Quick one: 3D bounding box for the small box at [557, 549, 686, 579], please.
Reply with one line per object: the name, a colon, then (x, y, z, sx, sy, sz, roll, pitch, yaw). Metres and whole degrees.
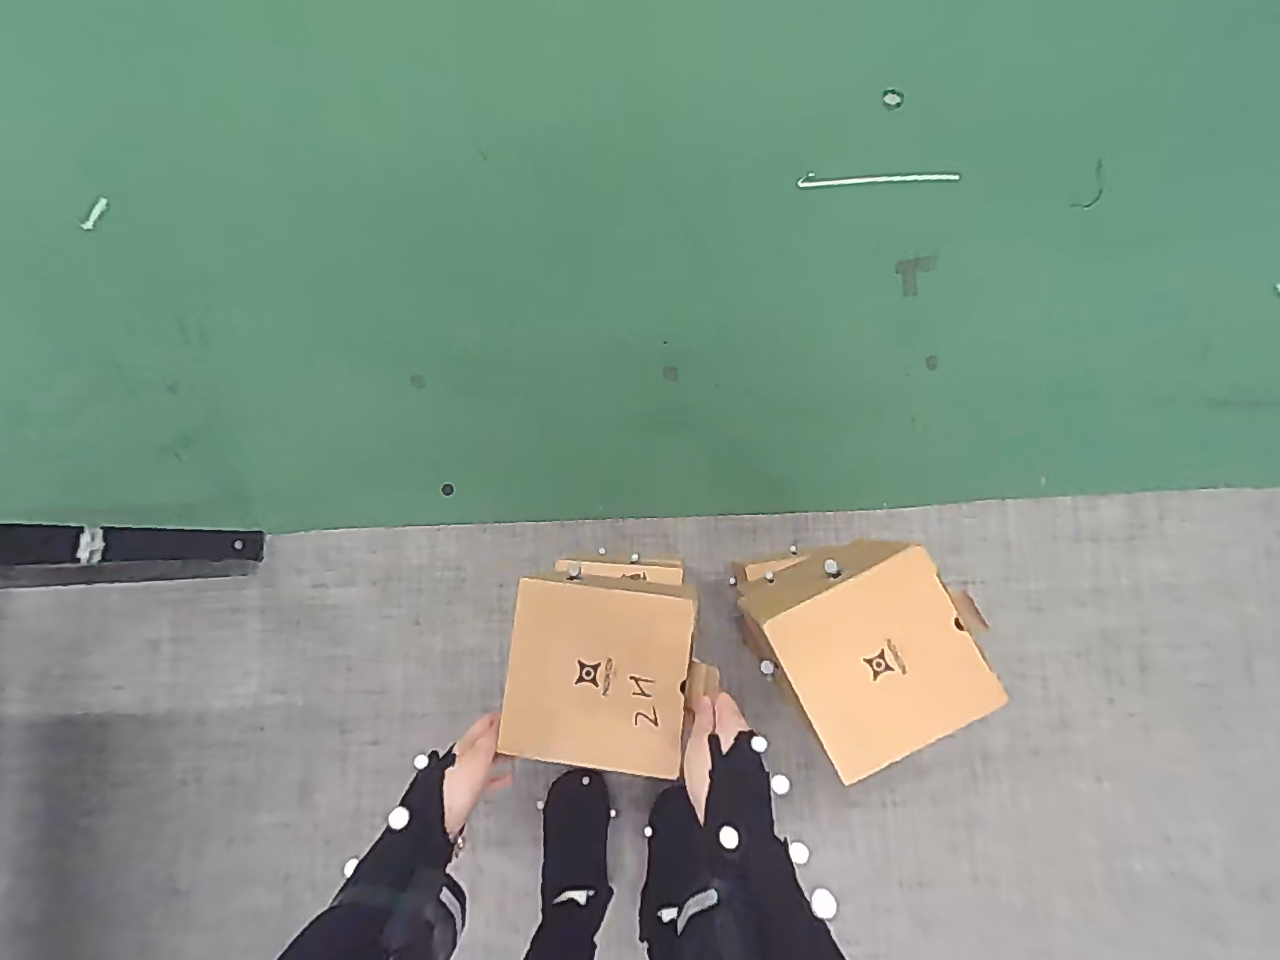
small box: (-0.023, 0.191, 0.747, 0.168, 0.176, 0.179, 3, 84, 4)

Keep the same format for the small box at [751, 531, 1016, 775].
small box: (0.232, 0.167, 0.576, 0.179, 0.176, 0.168, -28, 84, -1)

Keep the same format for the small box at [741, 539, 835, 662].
small box: (0.270, 0.192, 0.898, 0.179, 0.176, 0.168, -10, 84, 1)

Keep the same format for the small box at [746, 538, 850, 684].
small box: (0.256, 0.186, 0.737, 0.179, 0.176, 0.168, -23, 85, -1)

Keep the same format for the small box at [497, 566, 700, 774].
small box: (-0.032, 0.184, 0.580, 0.179, 0.176, 0.168, 6, 84, 5)
